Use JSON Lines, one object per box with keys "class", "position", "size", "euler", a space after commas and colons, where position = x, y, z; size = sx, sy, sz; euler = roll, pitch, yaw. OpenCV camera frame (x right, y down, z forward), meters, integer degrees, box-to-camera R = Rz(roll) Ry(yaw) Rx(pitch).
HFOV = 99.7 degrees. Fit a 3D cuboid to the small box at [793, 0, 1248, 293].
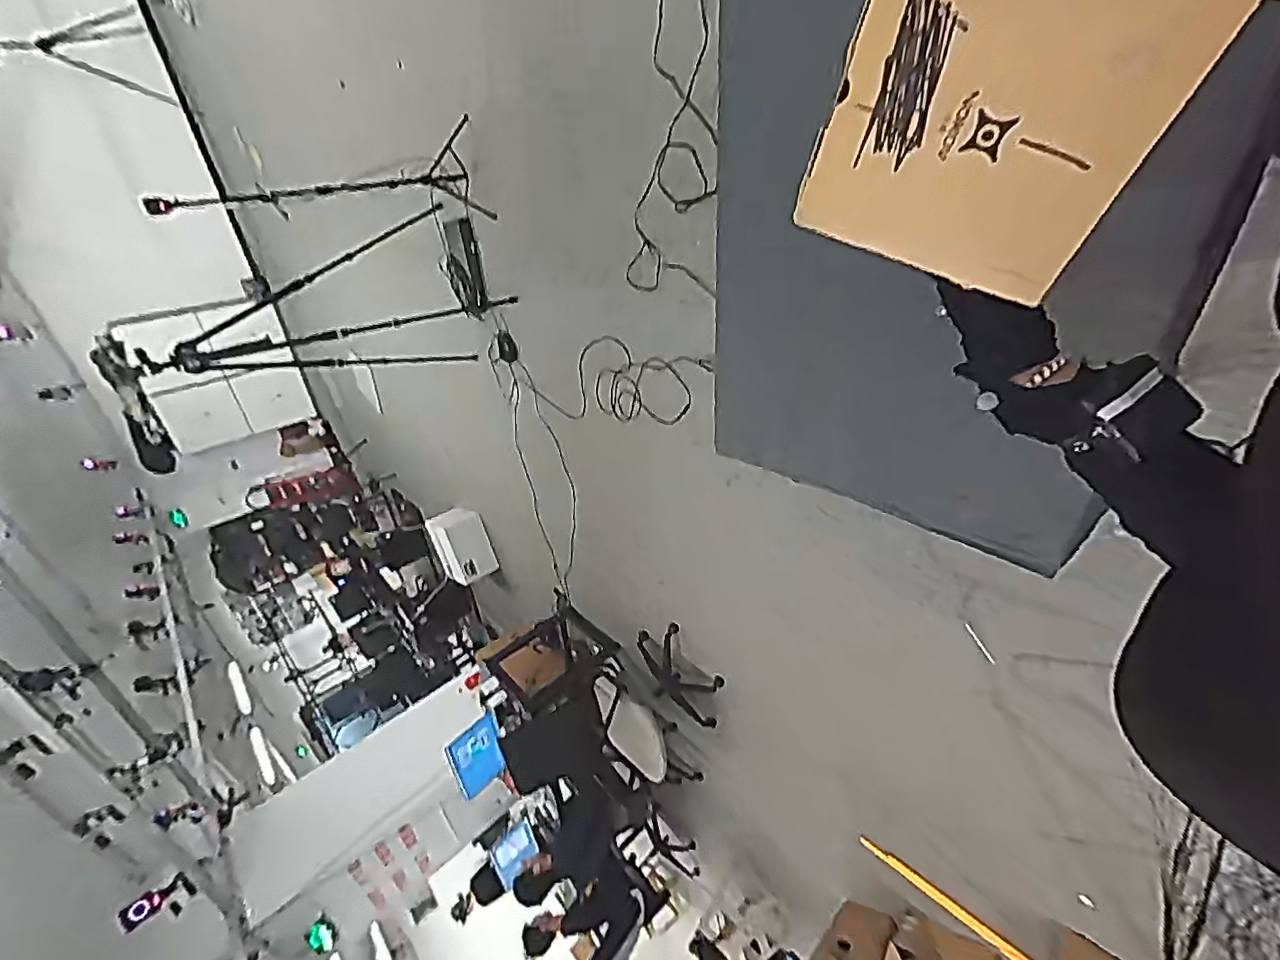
{"class": "small box", "position": [0.239, -0.261, 0.372], "size": [0.179, 0.176, 0.168], "euler": [29, 138, 15]}
